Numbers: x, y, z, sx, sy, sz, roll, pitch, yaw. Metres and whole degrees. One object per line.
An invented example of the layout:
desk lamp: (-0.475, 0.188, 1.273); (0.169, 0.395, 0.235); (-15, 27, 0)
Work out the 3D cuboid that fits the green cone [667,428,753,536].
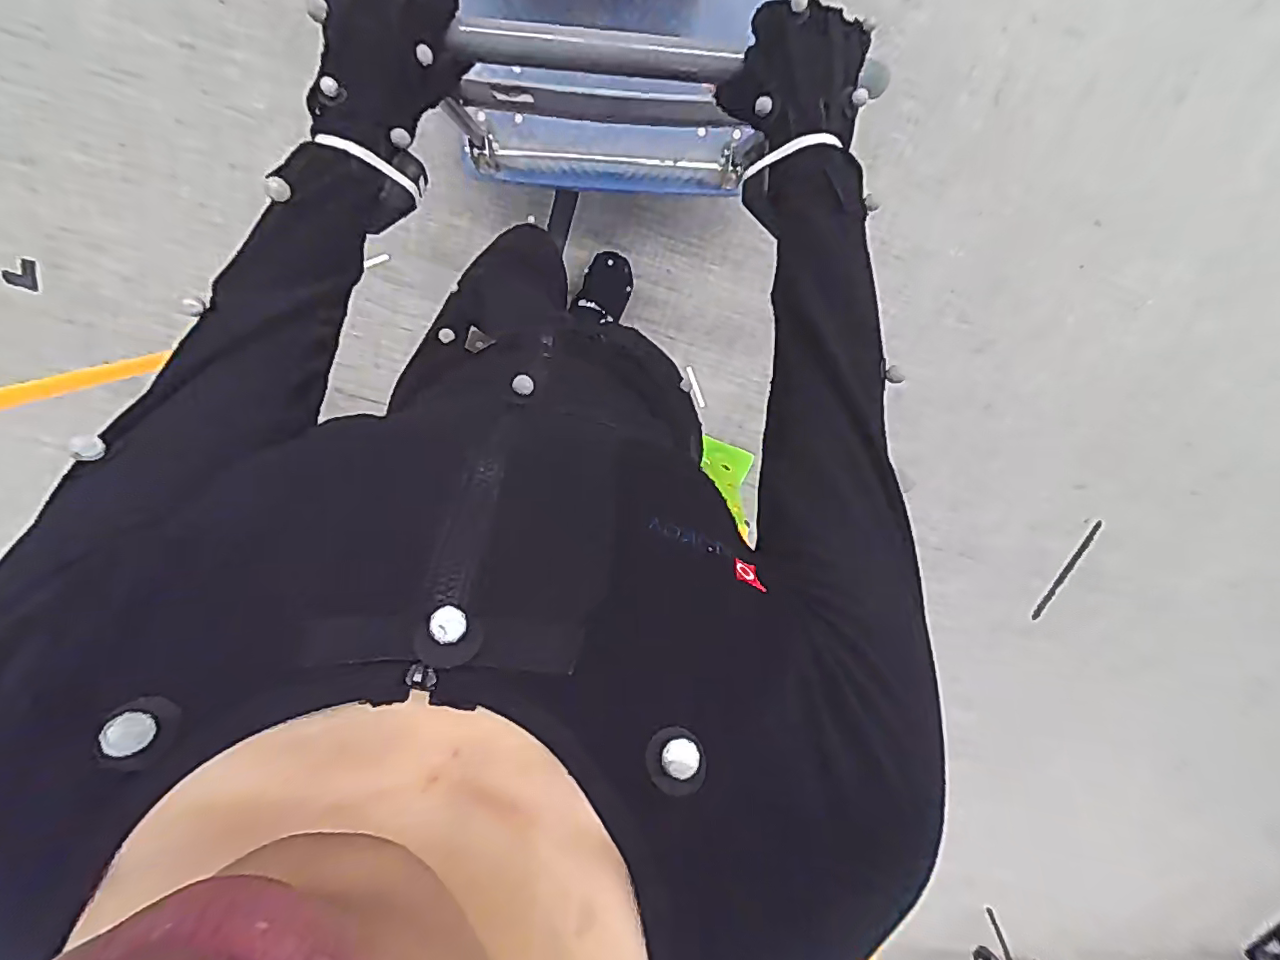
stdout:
green cone: (0.213, 0.038, 1.380); (0.202, 0.368, 0.200); (18, 111, -13)
